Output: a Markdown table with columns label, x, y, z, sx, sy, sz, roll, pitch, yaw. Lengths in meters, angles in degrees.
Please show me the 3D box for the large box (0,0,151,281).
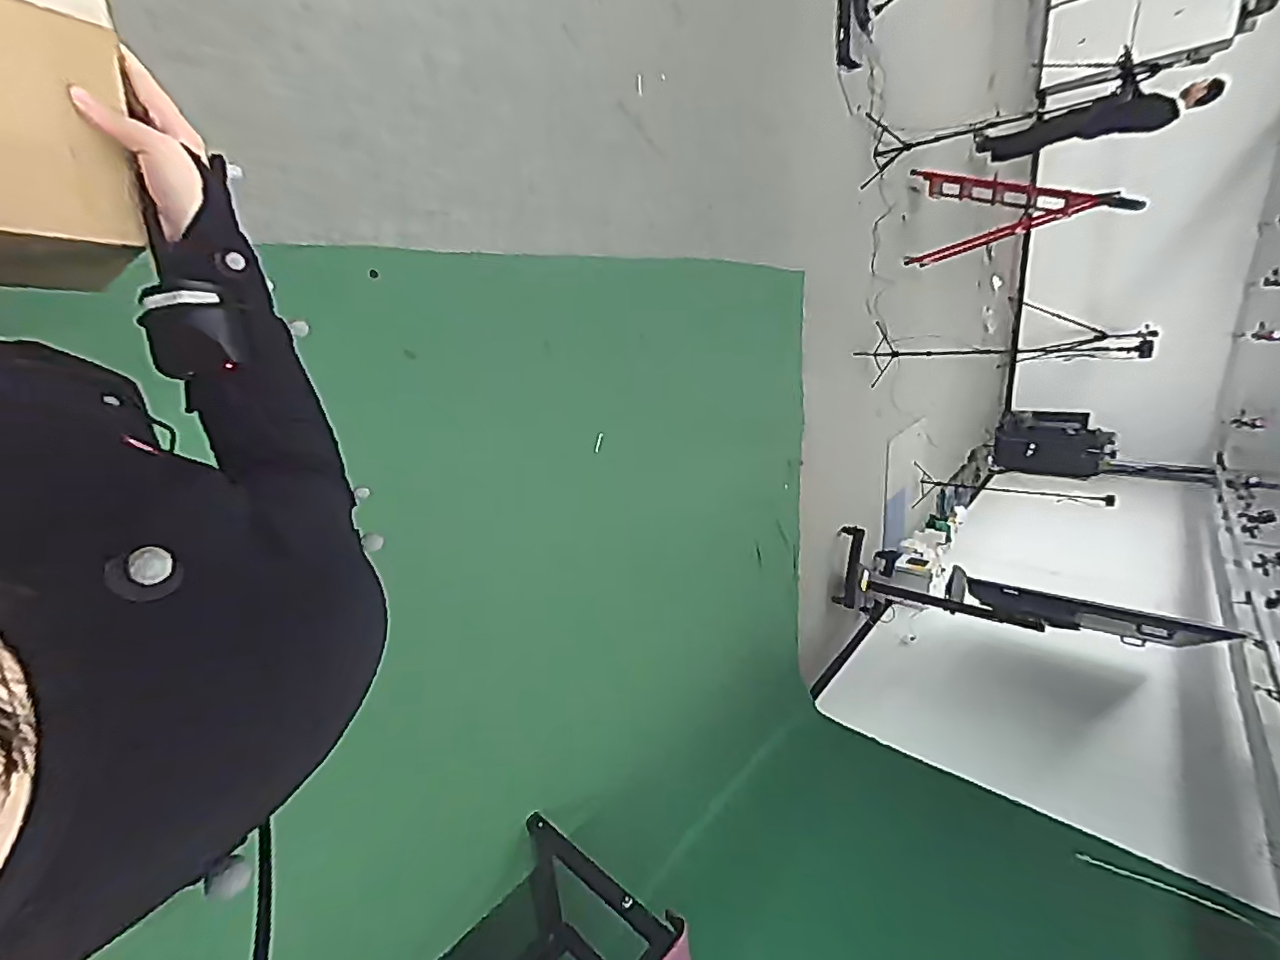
| label | x | y | z | sx | sy | sz | roll | pitch | yaw |
| --- | --- | --- | --- | --- | --- | --- | --- | --- | --- |
| large box | -0.629 | -0.319 | 0.338 | 0.408 | 0.320 | 0.320 | -15 | 109 | -48 |
